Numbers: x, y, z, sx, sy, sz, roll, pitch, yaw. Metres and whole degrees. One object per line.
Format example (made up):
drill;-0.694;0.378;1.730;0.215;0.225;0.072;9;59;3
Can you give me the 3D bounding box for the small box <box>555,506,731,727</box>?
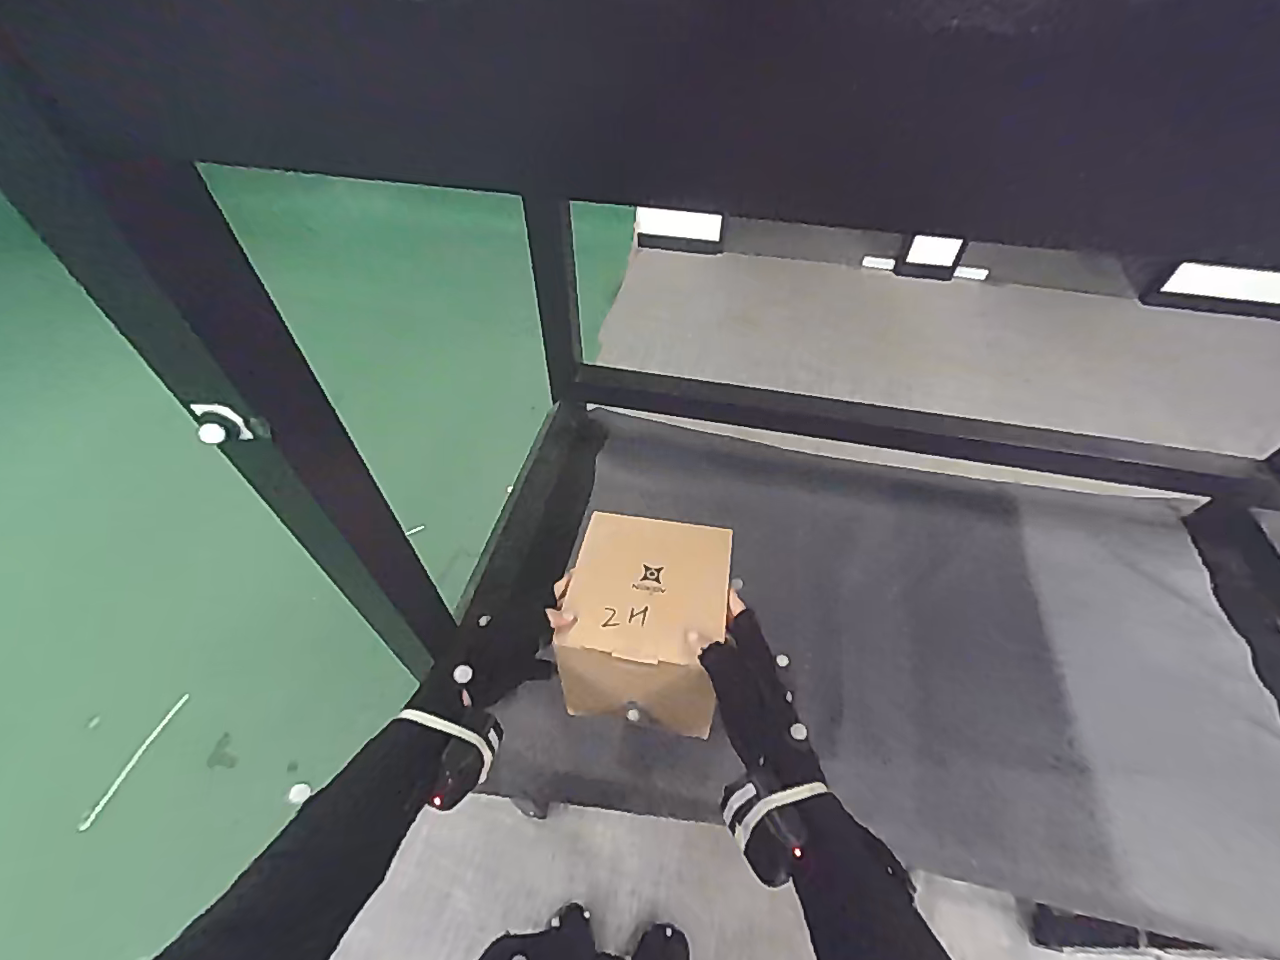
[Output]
small box;0.010;0.158;0.631;0.168;0.176;0.179;7;46;8
